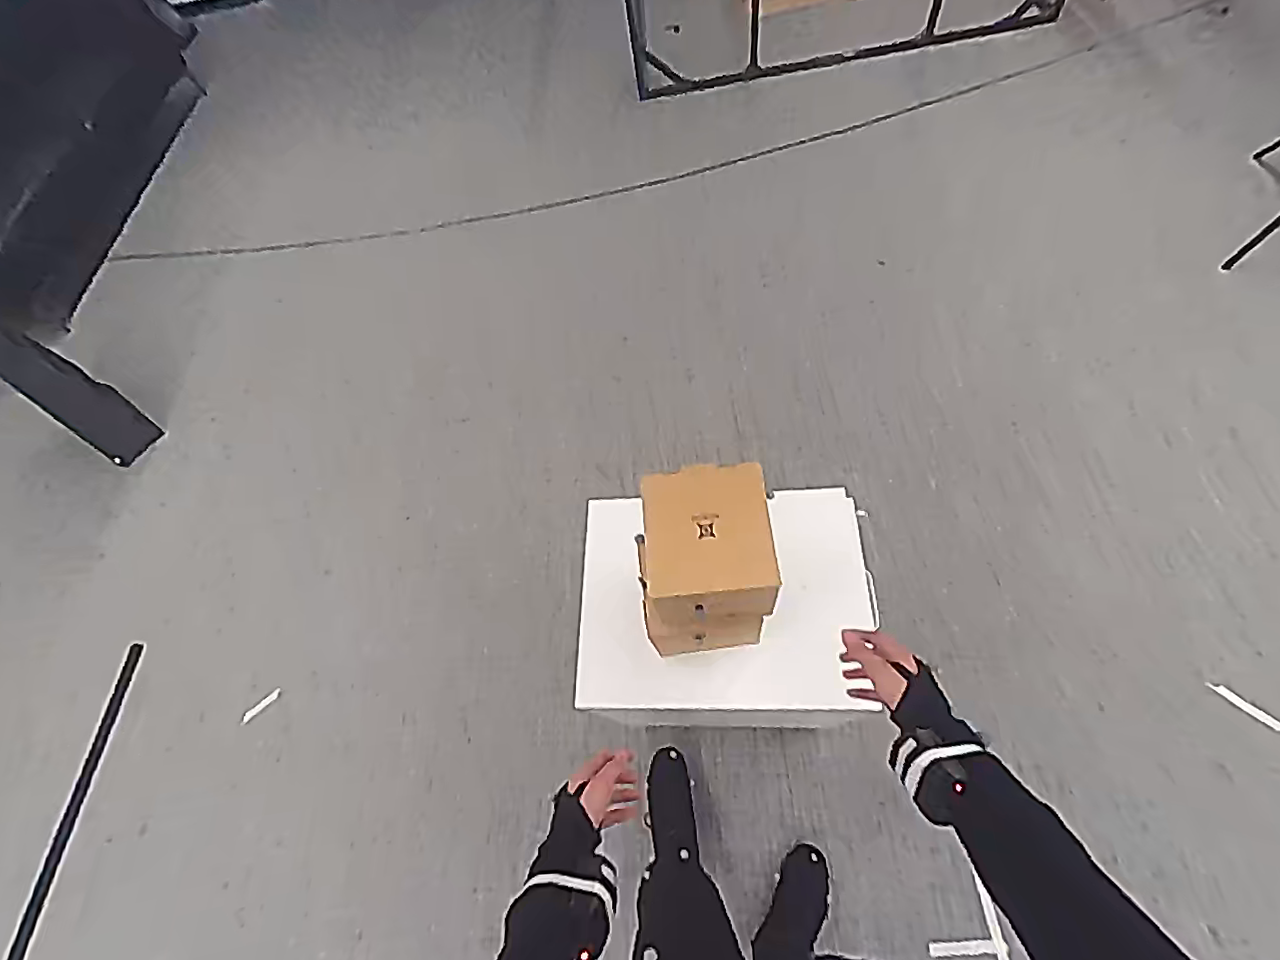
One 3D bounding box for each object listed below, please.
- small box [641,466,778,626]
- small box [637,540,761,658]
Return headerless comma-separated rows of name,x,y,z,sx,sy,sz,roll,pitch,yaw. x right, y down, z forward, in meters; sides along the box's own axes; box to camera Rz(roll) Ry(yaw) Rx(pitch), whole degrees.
small box,0.098,0.104,0.774,0.168,0.176,0.179,-7,61,6
small box,0.101,0.194,0.912,0.179,0.176,0.168,-10,61,4
